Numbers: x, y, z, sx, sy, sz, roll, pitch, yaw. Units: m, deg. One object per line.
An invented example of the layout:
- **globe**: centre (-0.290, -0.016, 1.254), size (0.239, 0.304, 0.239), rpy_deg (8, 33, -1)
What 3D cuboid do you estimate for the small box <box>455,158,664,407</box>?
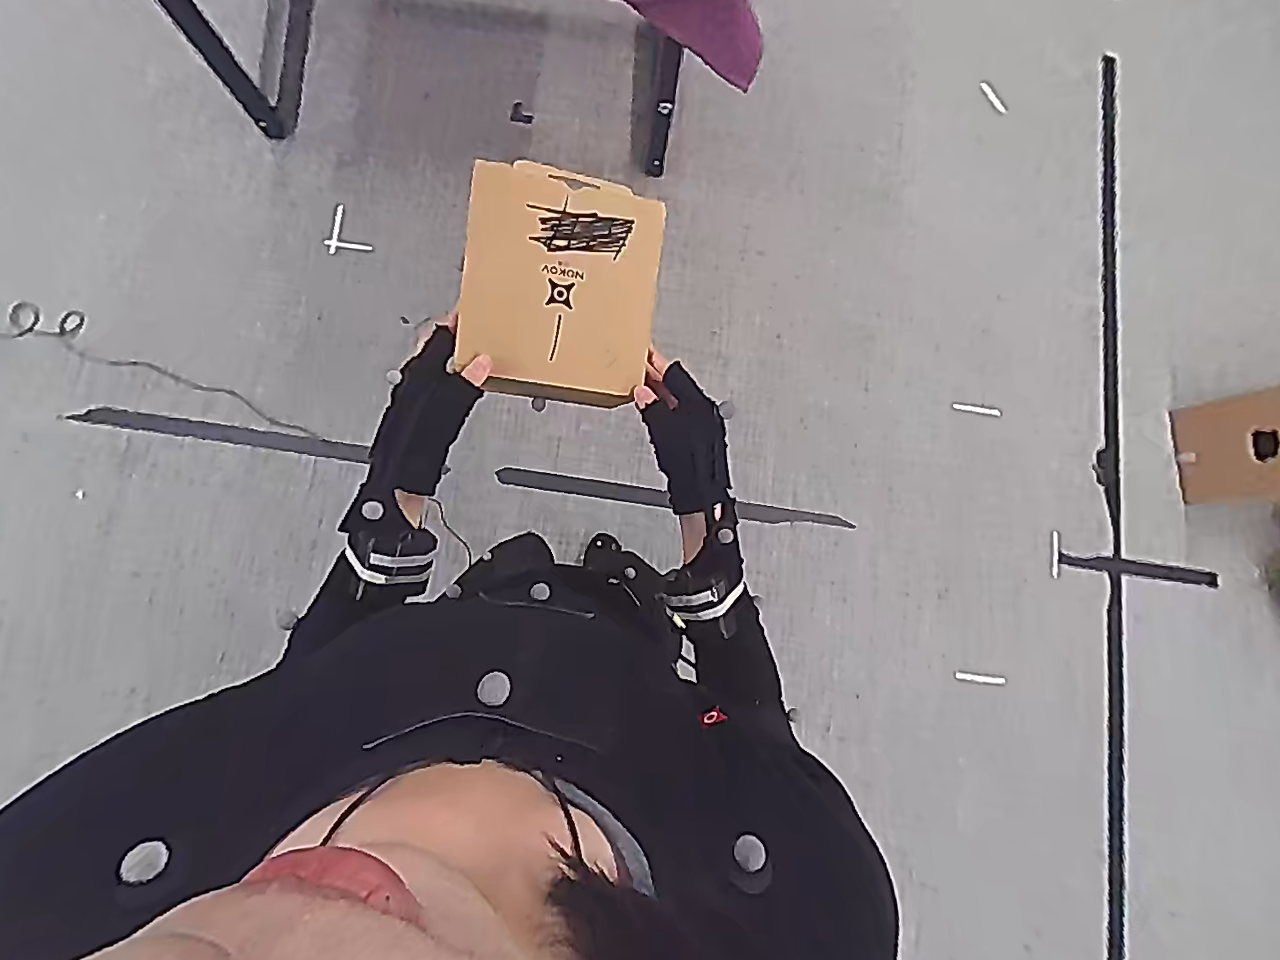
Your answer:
- **small box**: centre (-0.084, -0.175, 0.541), size (0.168, 0.176, 0.179), rpy_deg (6, 92, -13)
